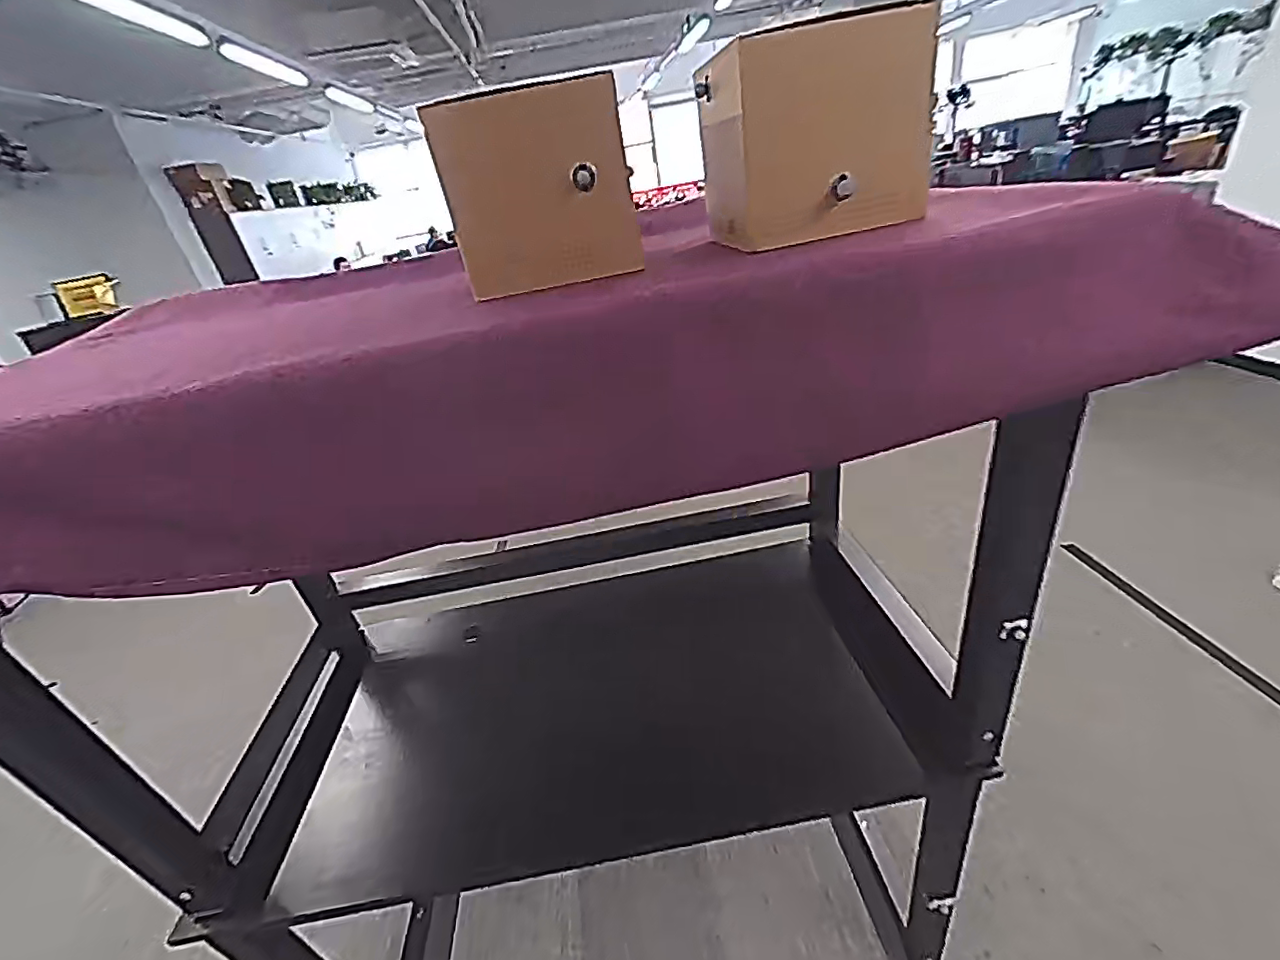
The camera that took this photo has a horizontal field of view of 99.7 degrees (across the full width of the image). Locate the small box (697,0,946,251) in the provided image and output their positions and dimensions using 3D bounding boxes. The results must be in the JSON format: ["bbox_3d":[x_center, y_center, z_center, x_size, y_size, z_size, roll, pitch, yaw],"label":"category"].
[{"bbox_3d":[0.165,-0.339,0.538,0.179,0.176,0.168,-12,28,-2],"label":"small box"}]

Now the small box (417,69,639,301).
[{"bbox_3d":[-0.099,-0.300,0.567,0.179,0.176,0.168,-12,28,0],"label":"small box"}]
